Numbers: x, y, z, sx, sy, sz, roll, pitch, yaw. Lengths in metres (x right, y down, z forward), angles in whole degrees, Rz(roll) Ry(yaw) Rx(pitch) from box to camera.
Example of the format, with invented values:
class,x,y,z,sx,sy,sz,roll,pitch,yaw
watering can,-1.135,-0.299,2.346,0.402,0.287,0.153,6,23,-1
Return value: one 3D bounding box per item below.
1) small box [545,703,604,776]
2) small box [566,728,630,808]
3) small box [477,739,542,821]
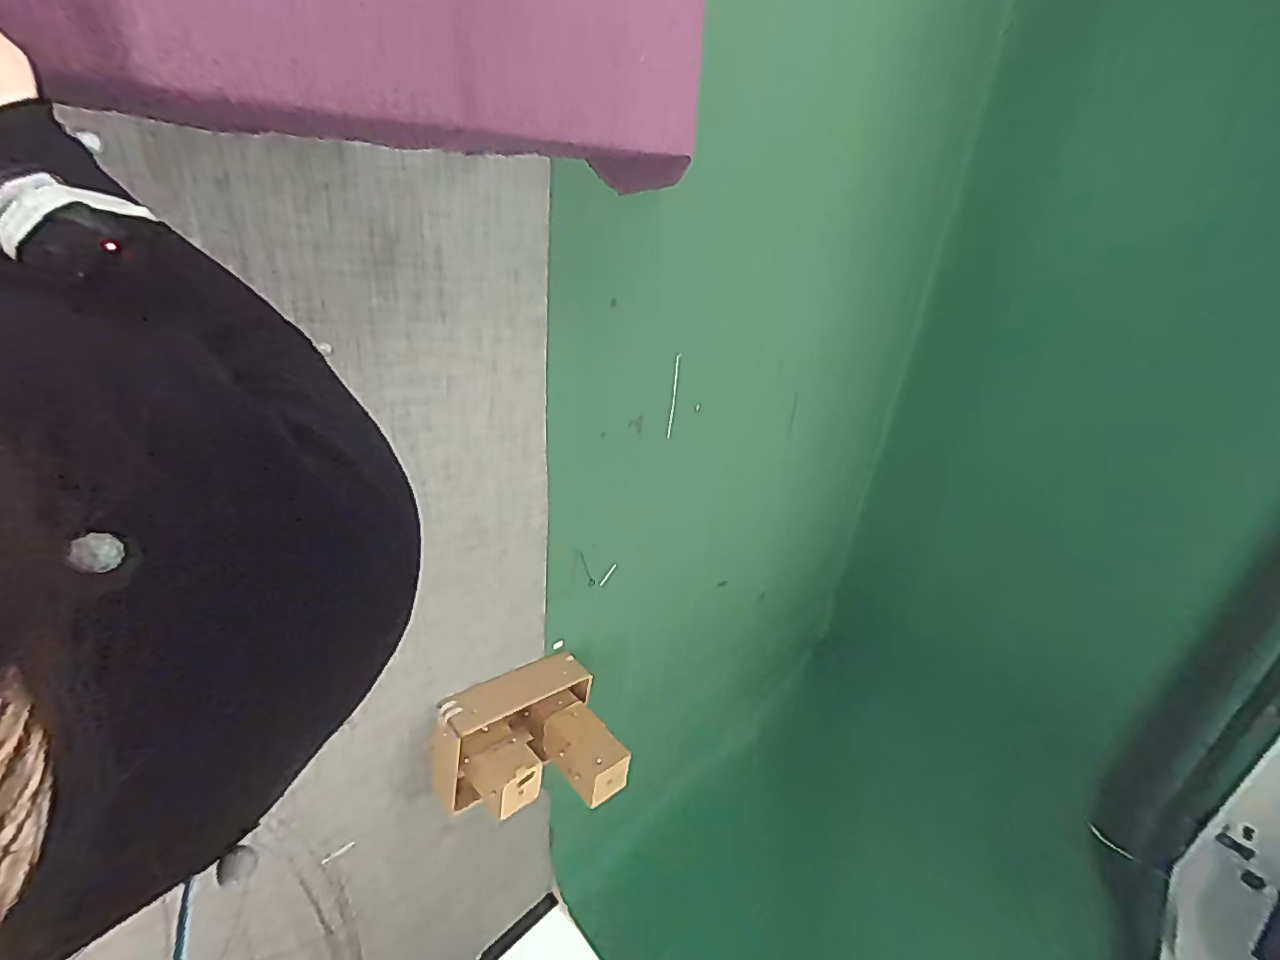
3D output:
class,x,y,z,sx,sy,sz,roll,pitch,yaw
small box,-0.271,1.052,2.203,0.168,0.176,0.179,-10,116,-44
small box,-0.167,1.105,2.086,0.179,0.176,0.168,-11,117,-44
small box,-0.482,1.088,1.983,0.168,0.176,0.179,-12,119,-45
